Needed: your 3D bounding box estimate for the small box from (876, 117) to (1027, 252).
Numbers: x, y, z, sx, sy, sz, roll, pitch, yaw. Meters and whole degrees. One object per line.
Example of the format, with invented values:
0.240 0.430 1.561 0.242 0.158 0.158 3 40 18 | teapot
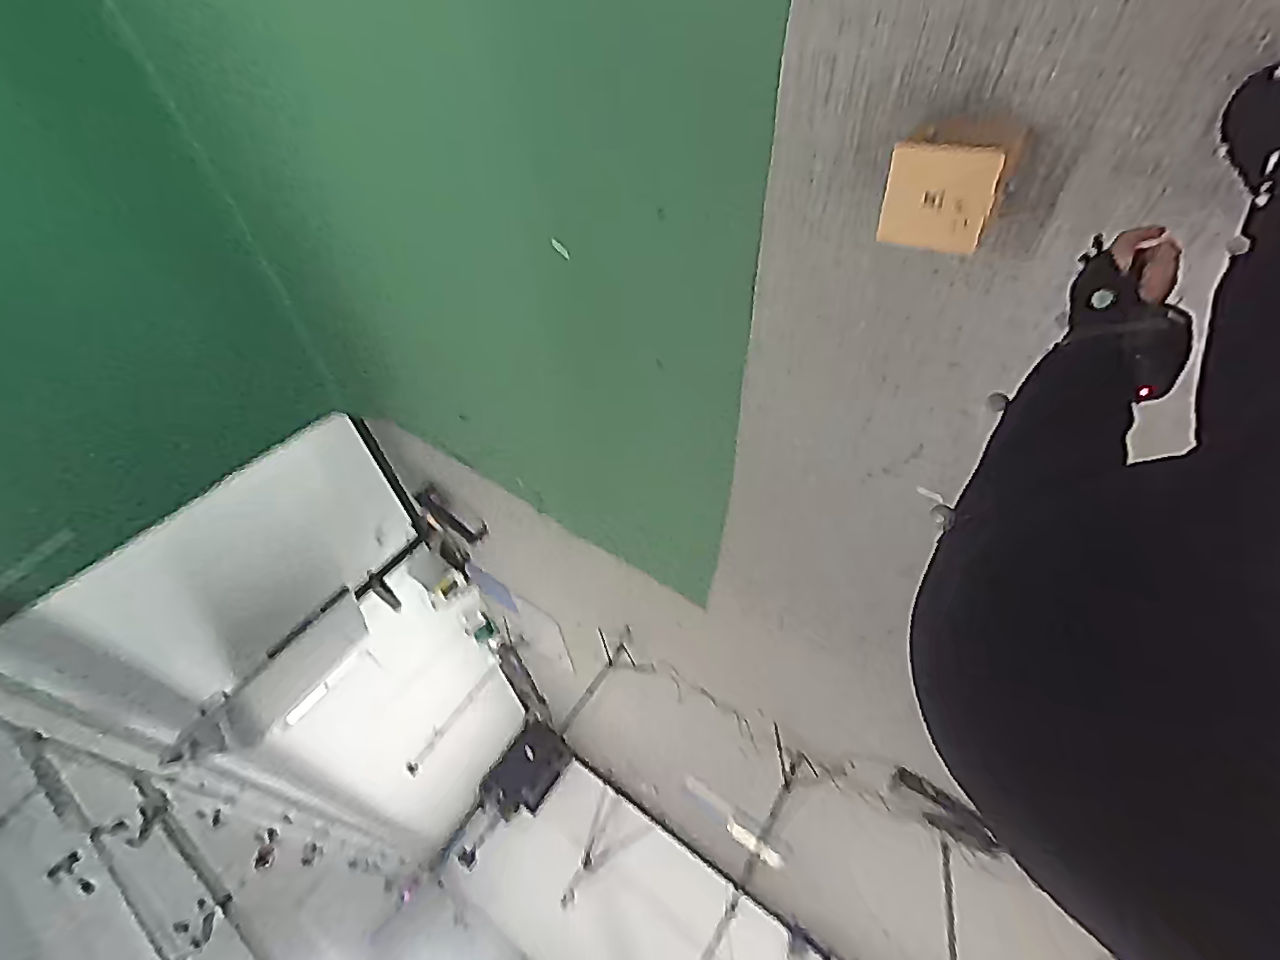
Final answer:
0.562 -0.541 0.983 0.179 0.176 0.168 24 144 28 | small box
